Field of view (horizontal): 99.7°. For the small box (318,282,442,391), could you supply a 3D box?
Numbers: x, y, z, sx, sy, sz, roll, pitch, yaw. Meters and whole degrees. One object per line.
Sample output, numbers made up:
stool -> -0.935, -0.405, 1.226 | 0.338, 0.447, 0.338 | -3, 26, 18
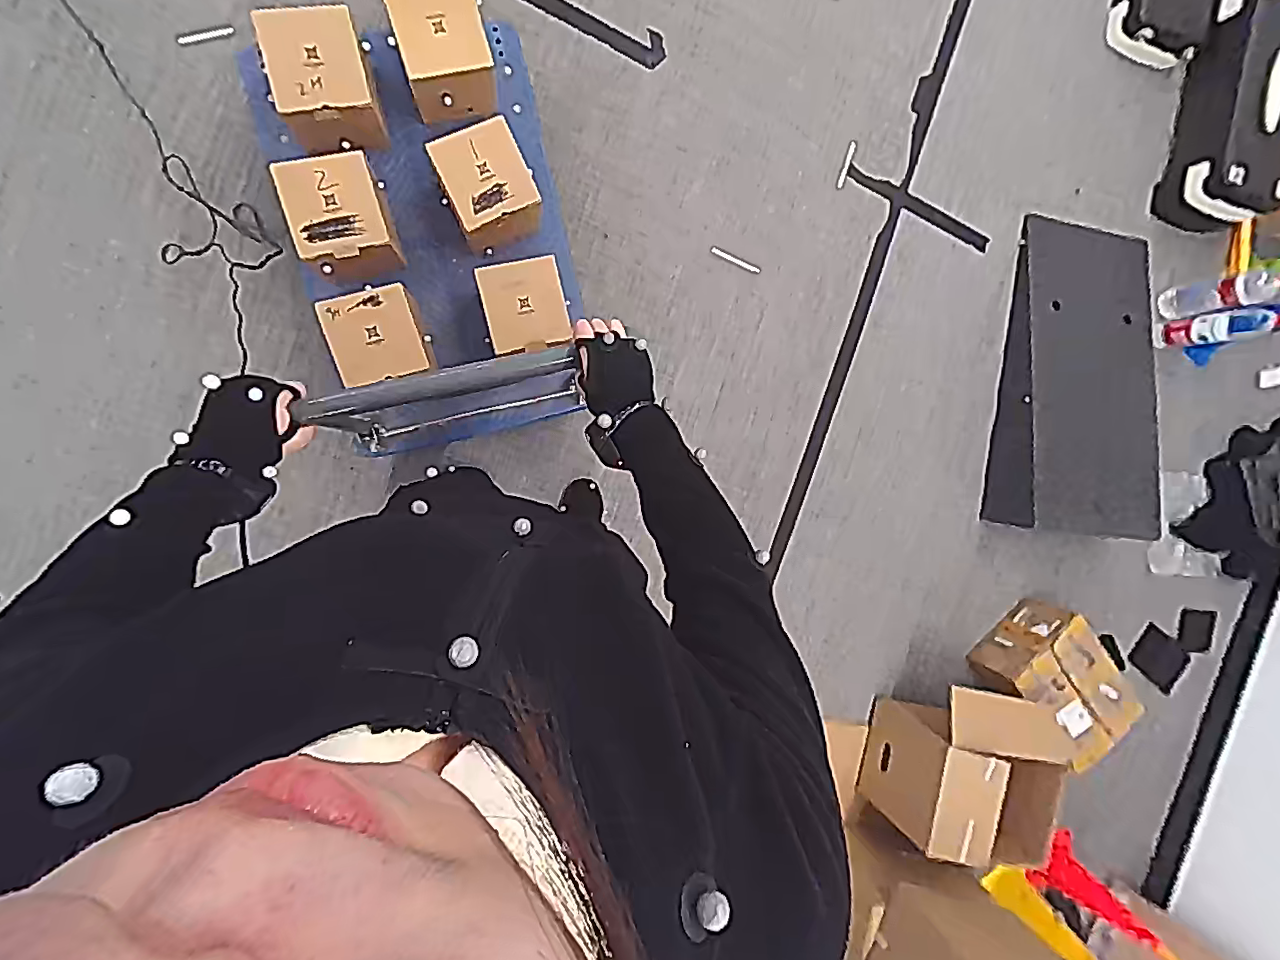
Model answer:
small box -> -0.527, -0.290, 1.126 | 0.168, 0.176, 0.179 | -19, 100, -11

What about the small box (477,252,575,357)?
small box -> -0.245, -0.371, 1.180 | 0.168, 0.176, 0.179 | -15, 98, -11

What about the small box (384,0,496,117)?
small box -> -0.398, -0.873, 1.096 | 0.168, 0.176, 0.179 | -18, 99, -10

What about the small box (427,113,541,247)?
small box -> -0.318, -0.616, 1.138 | 0.168, 0.176, 0.179 | -27, 99, -8

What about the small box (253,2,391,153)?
small box -> -0.609, -0.777, 1.059 | 0.168, 0.176, 0.179 | -13, 99, -10
